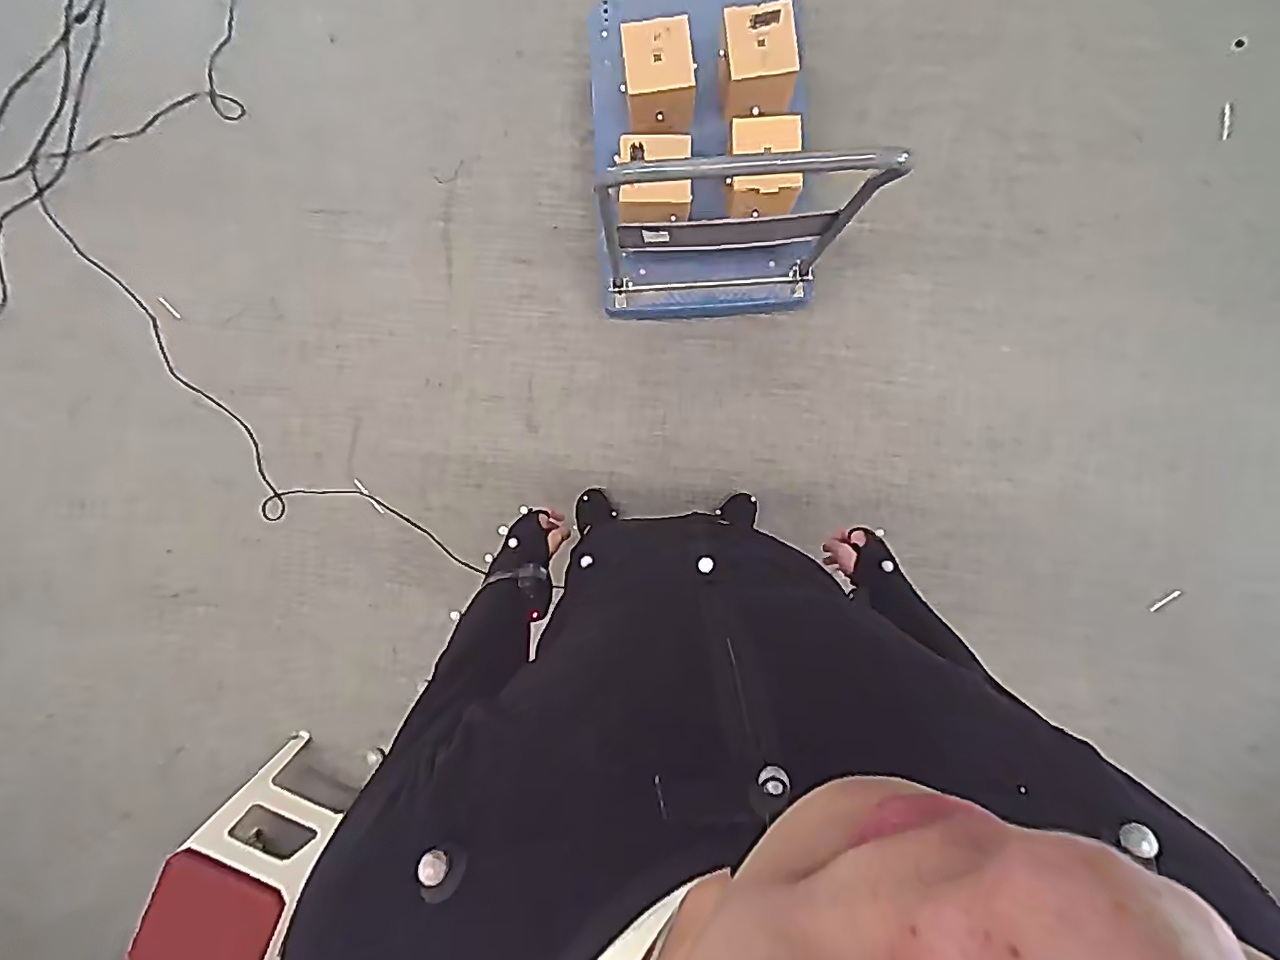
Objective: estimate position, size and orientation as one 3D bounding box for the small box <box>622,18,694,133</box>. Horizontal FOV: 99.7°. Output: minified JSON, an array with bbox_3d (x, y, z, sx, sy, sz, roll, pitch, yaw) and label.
[{"bbox_3d":[0.049,-1.033,1.401,0.168,0.176,0.179,-7,90,2],"label":"small box"}]

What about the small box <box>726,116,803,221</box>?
[{"bbox_3d":[0.313,-0.793,1.390,0.168,0.176,0.179,-2,90,2],"label":"small box"}]

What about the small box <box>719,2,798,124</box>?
[{"bbox_3d":[0.298,-1.063,1.389,0.168,0.176,0.179,-6,91,3],"label":"small box"}]
